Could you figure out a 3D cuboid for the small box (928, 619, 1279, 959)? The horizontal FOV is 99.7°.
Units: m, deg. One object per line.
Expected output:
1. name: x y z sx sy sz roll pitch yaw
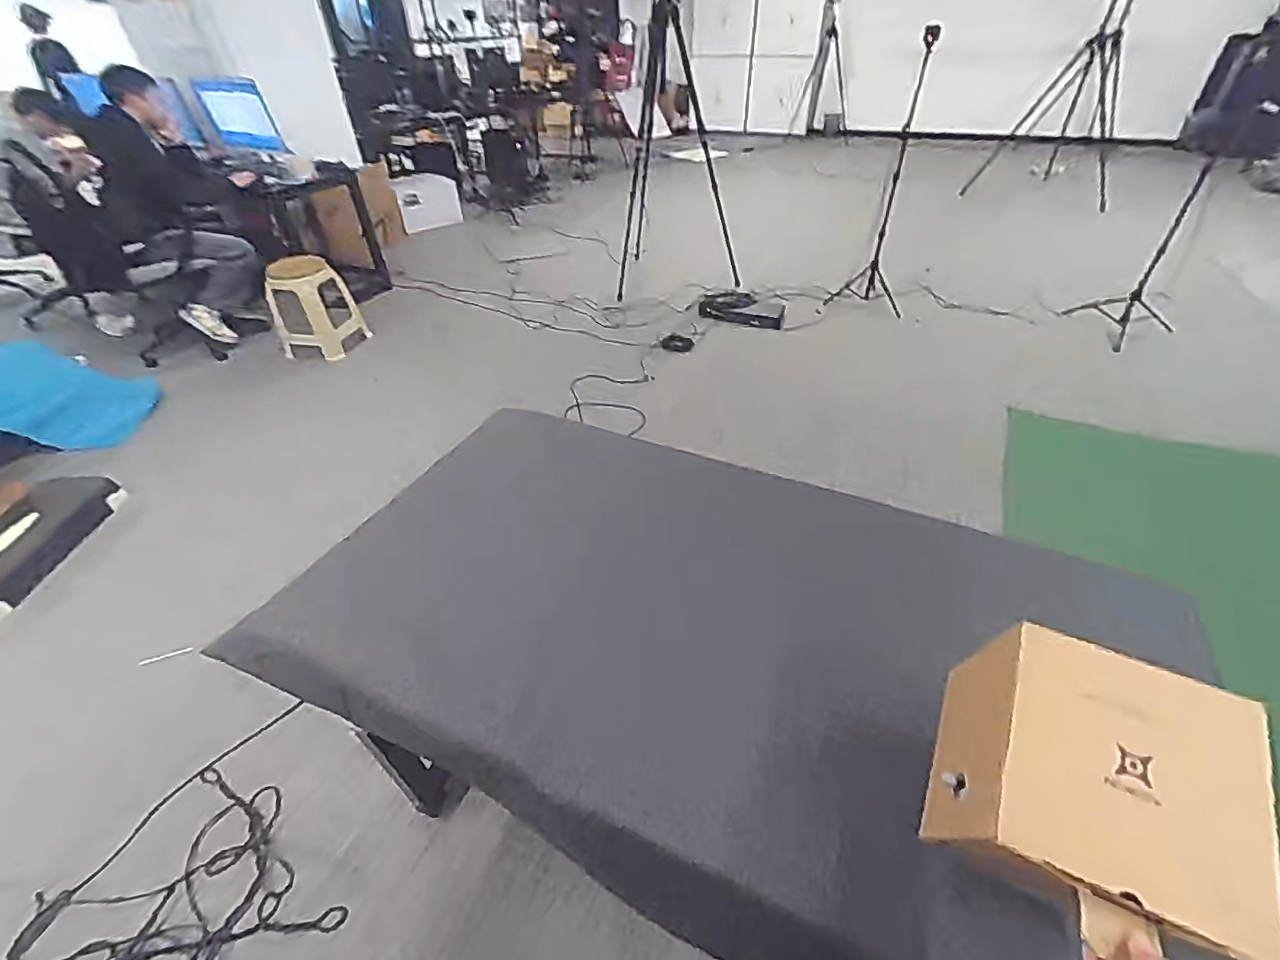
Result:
1. small box: 0.365 0.252 0.455 0.168 0.176 0.179 19 60 17
